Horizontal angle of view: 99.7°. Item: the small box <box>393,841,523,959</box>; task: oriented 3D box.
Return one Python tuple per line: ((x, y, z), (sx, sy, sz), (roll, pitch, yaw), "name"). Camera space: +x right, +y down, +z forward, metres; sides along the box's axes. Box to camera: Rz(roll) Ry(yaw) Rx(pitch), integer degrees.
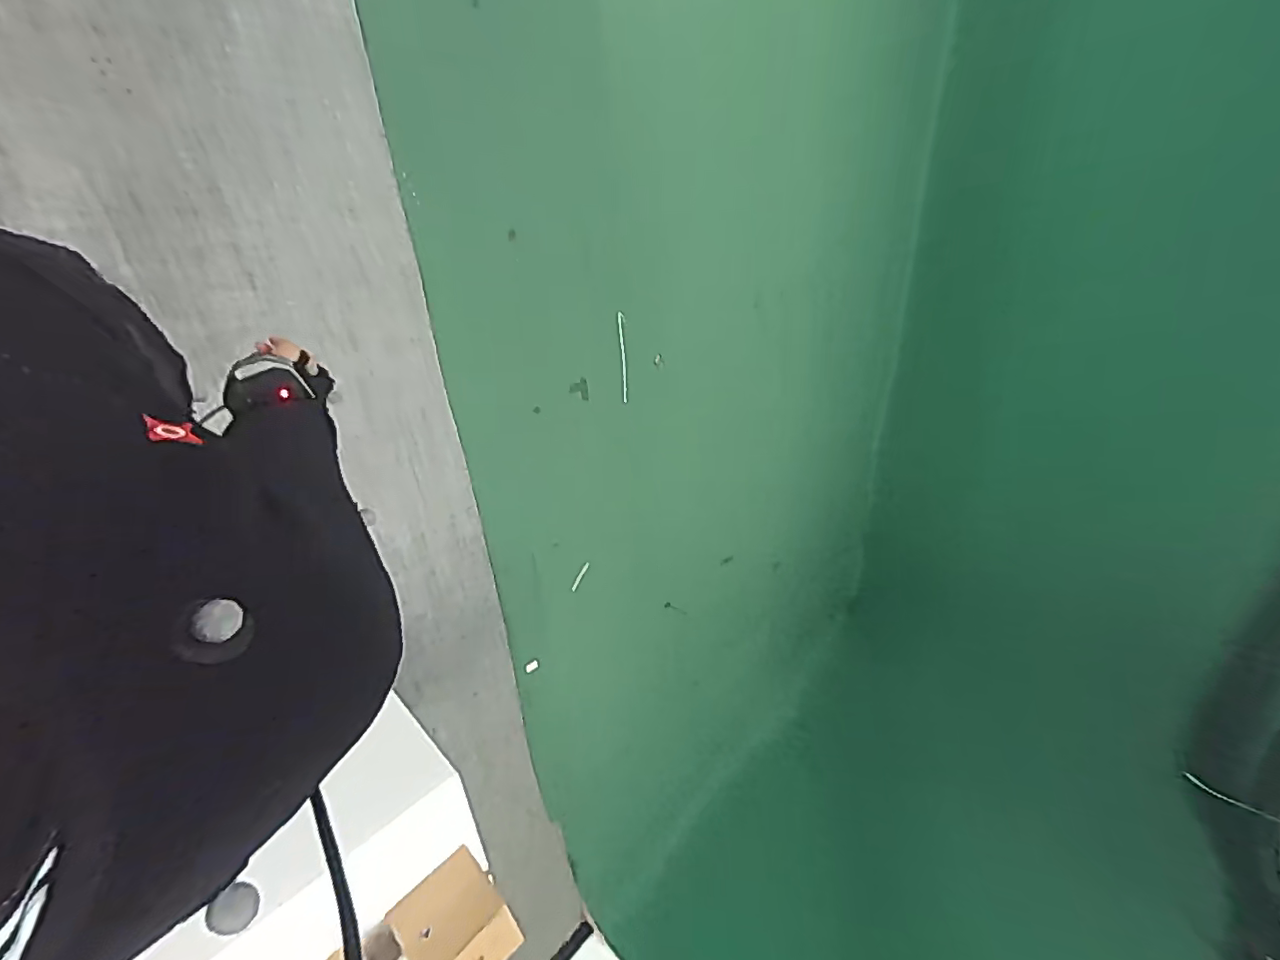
((-0.366, 0.883, 1.078), (0.179, 0.176, 0.168), (-32, 129, -35), "small box")
